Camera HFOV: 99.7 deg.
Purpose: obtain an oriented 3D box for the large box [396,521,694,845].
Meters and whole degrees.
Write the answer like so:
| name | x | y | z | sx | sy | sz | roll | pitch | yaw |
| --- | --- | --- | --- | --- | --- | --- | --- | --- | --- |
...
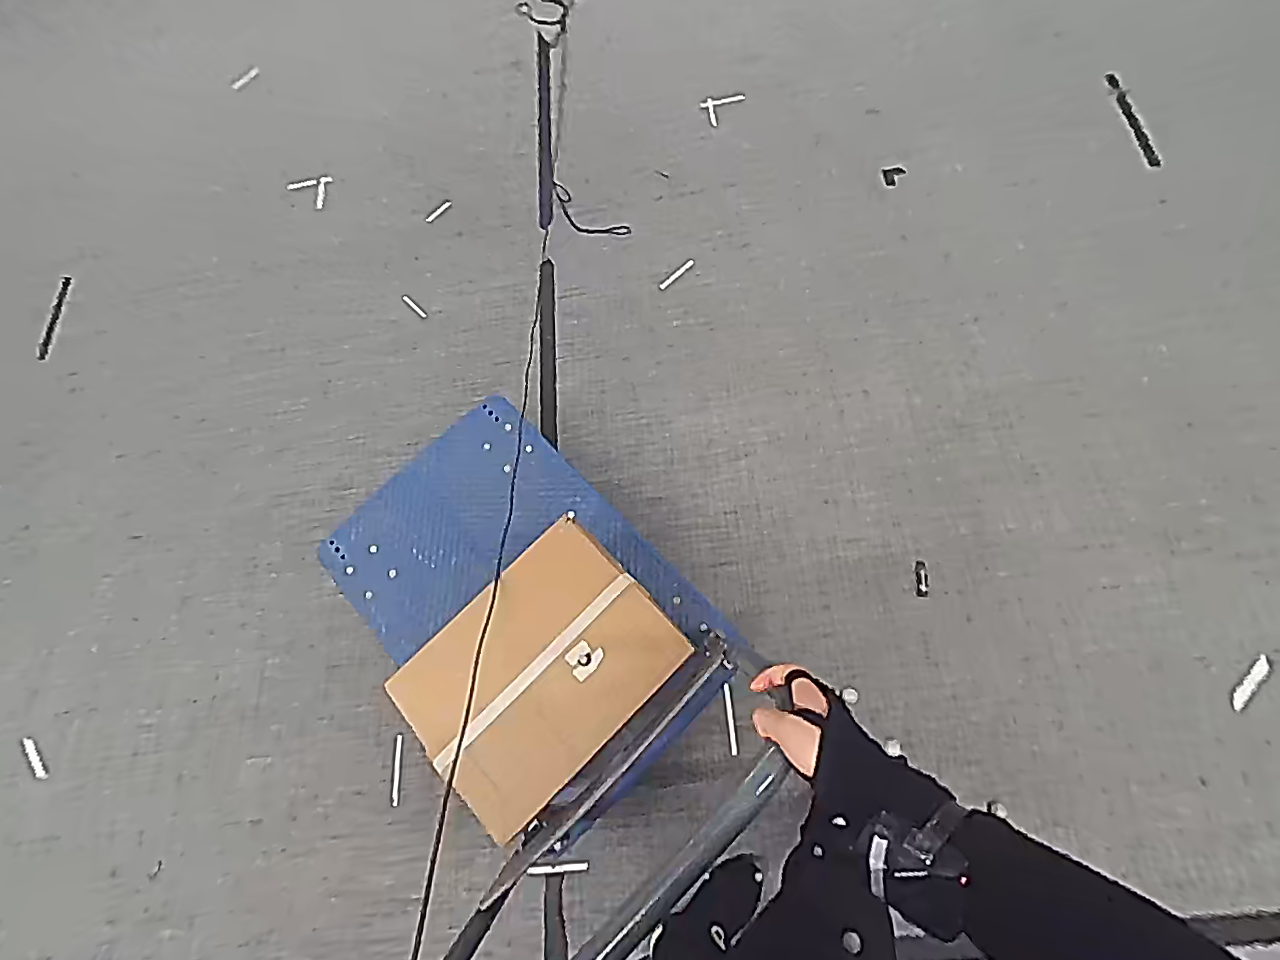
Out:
| name | x | y | z | sx | sy | sz | roll | pitch | yaw |
| --- | --- | --- | --- | --- | --- | --- | --- | --- | --- |
| large box | -0.143 | 0.352 | 1.006 | 0.408 | 0.320 | 0.320 | -44 | 74 | -9 |
